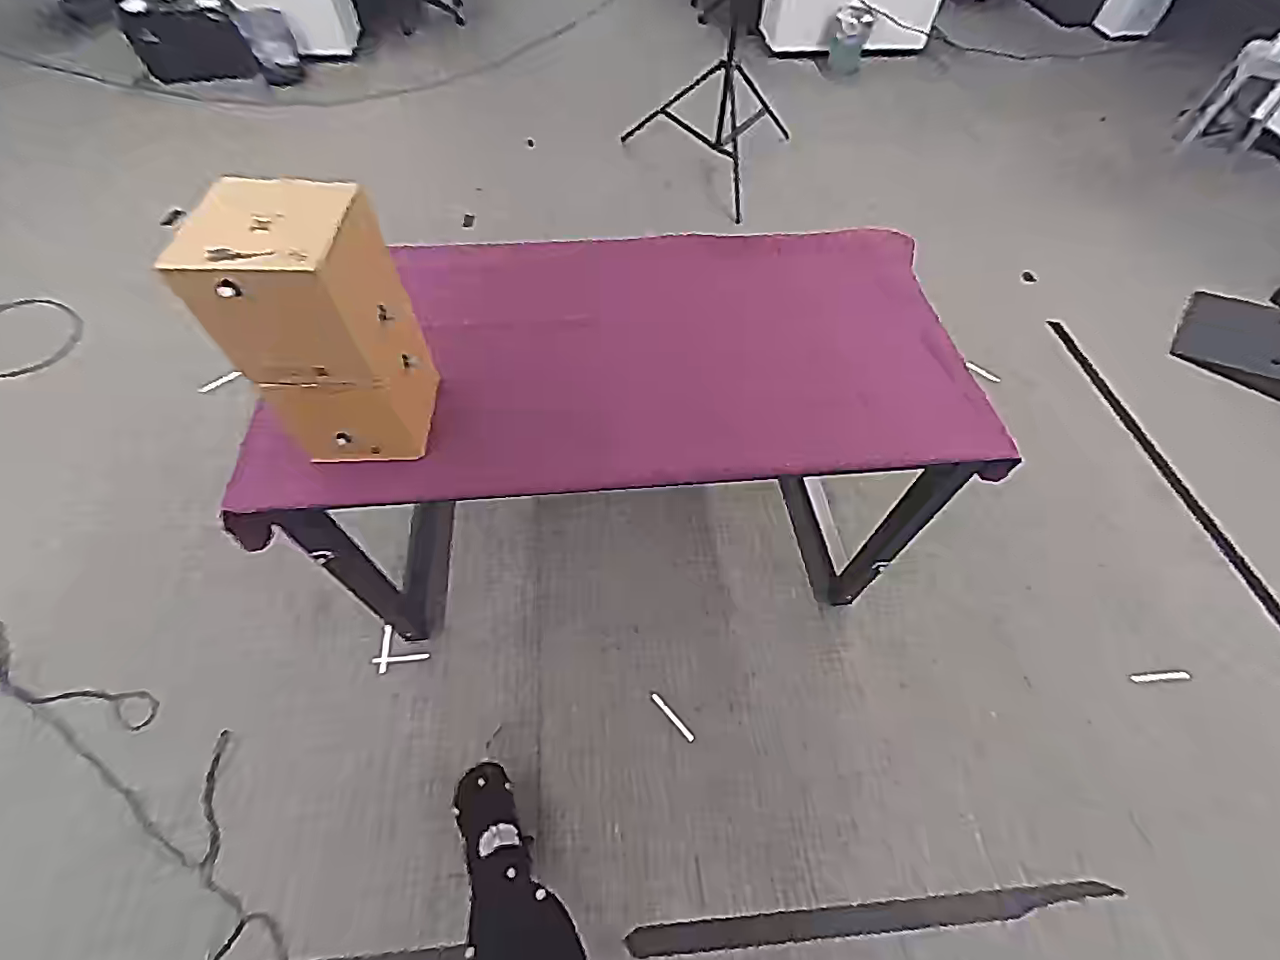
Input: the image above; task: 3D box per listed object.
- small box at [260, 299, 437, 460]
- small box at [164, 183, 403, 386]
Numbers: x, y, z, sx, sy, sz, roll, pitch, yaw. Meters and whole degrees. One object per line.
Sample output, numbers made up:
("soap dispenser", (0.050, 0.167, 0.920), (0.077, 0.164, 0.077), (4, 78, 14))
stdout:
("small box", (-0.415, -0.148, 0.808), (0.168, 0.176, 0.179), (-2, 56, -3))
("small box", (-0.414, -0.239, 0.672), (0.168, 0.176, 0.179), (0, 56, -2))
